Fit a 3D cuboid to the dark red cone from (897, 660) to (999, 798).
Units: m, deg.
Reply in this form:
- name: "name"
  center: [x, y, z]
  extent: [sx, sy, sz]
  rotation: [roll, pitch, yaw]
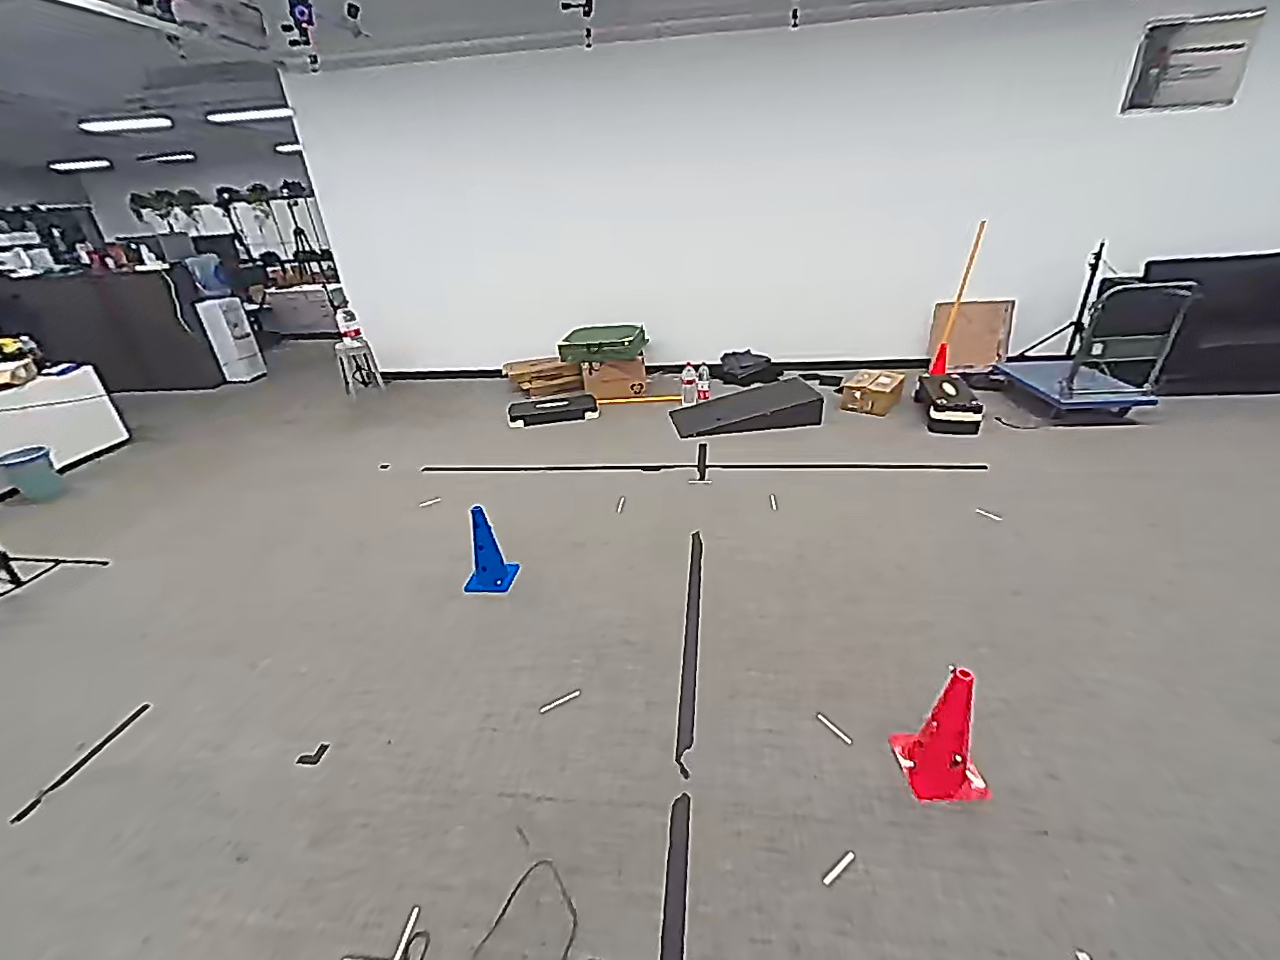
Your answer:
- name: "dark red cone"
  center: [0.817, 0.617, 1.393]
  extent: [0.201, 0.394, 0.202]
  rotation: [-4, 27, 1]

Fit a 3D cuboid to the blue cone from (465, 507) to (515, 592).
- name: "blue cone"
  center: [-0.663, 0.283, 2.285]
  extent: [0.192, 0.380, 0.193]
  rotation: [0, 27, 9]
